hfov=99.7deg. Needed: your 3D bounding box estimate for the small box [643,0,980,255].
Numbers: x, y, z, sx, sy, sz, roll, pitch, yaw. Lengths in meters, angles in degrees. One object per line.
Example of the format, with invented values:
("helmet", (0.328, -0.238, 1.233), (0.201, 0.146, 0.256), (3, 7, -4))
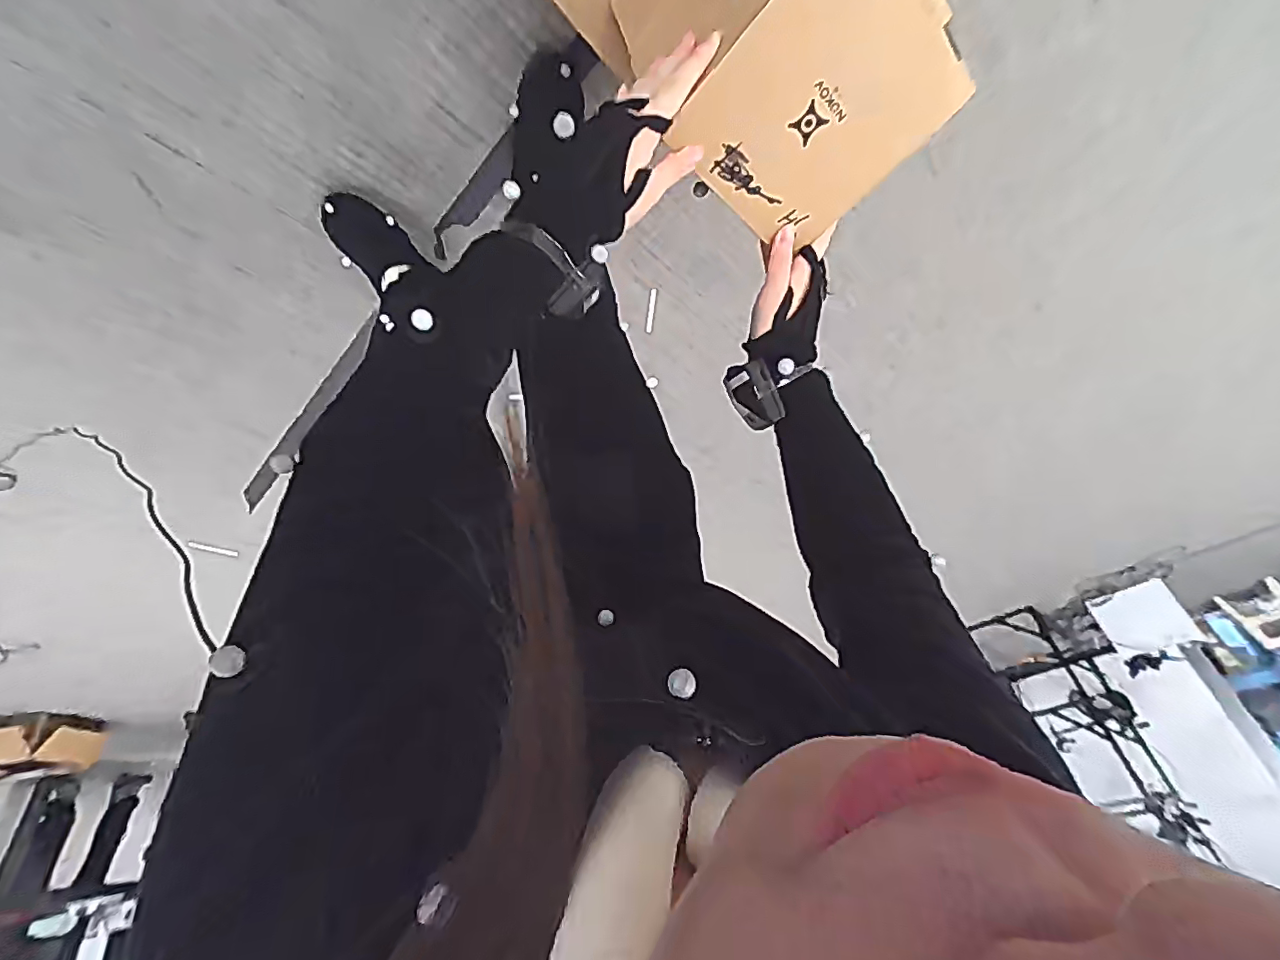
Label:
("small box", (0.120, -0.333, 0.435), (0.168, 0.176, 0.179), (25, 131, -37))
